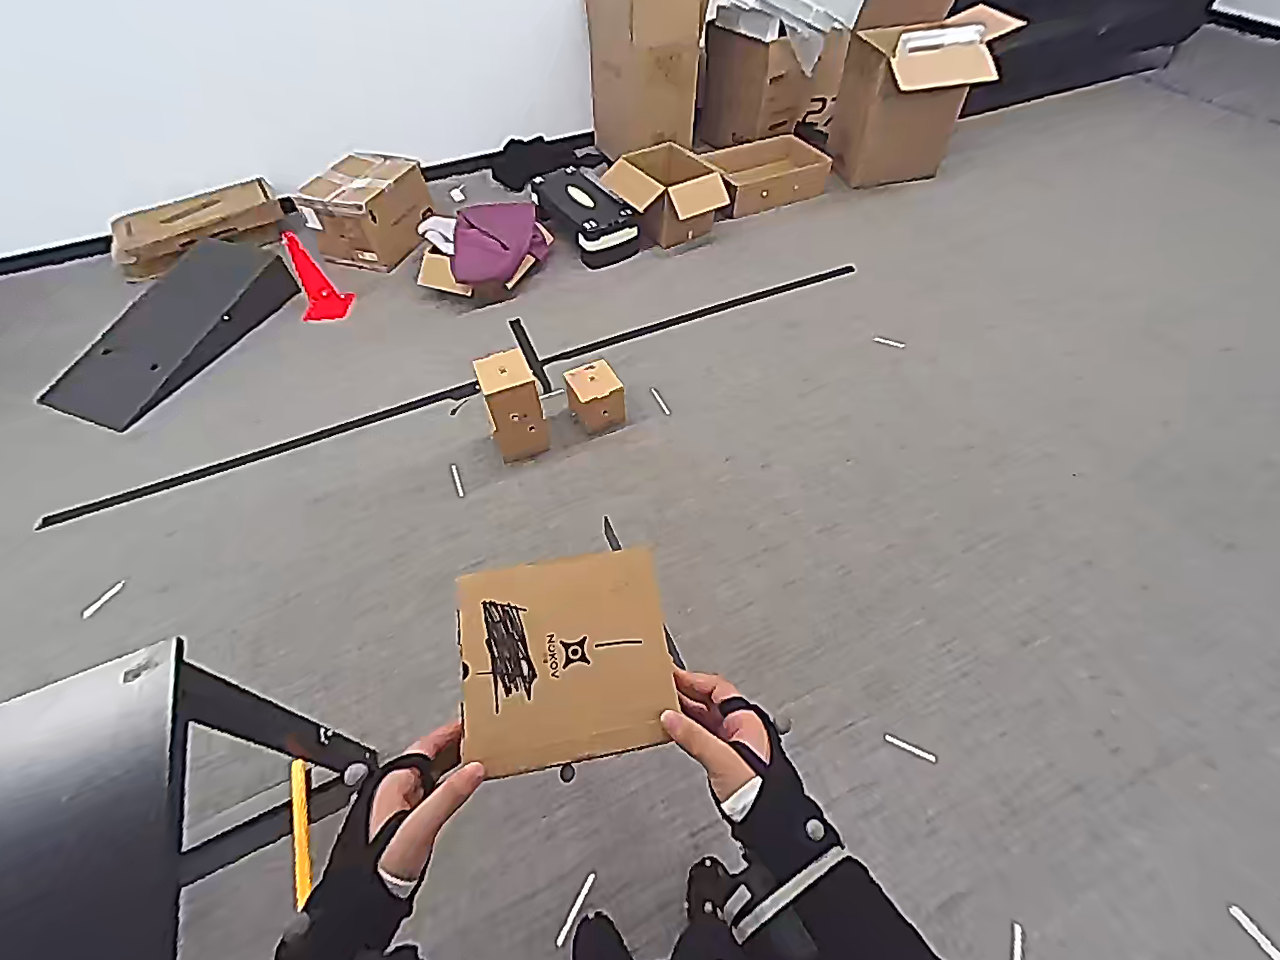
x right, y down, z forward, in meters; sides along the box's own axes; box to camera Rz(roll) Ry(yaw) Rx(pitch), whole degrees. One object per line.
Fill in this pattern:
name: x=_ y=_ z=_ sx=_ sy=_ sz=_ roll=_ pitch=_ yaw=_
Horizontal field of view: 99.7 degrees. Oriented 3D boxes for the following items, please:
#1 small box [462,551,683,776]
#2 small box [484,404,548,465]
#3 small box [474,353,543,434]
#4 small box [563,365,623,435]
small box: x=-0.066 y=0.186 z=0.534 sx=0.179 sy=0.176 sz=0.168 roll=-8 pitch=63 yaw=-8
small box: x=-0.435 y=-0.181 z=1.925 sx=0.179 sy=0.176 sz=0.168 roll=-19 pitch=54 yaw=-12
small box: x=-0.435 y=-0.286 z=1.801 sx=0.168 sy=0.176 sz=0.179 roll=-21 pitch=56 yaw=-12
small box: x=-0.169 y=-0.290 z=2.002 sx=0.168 sy=0.176 sz=0.179 roll=-23 pitch=56 yaw=-15
